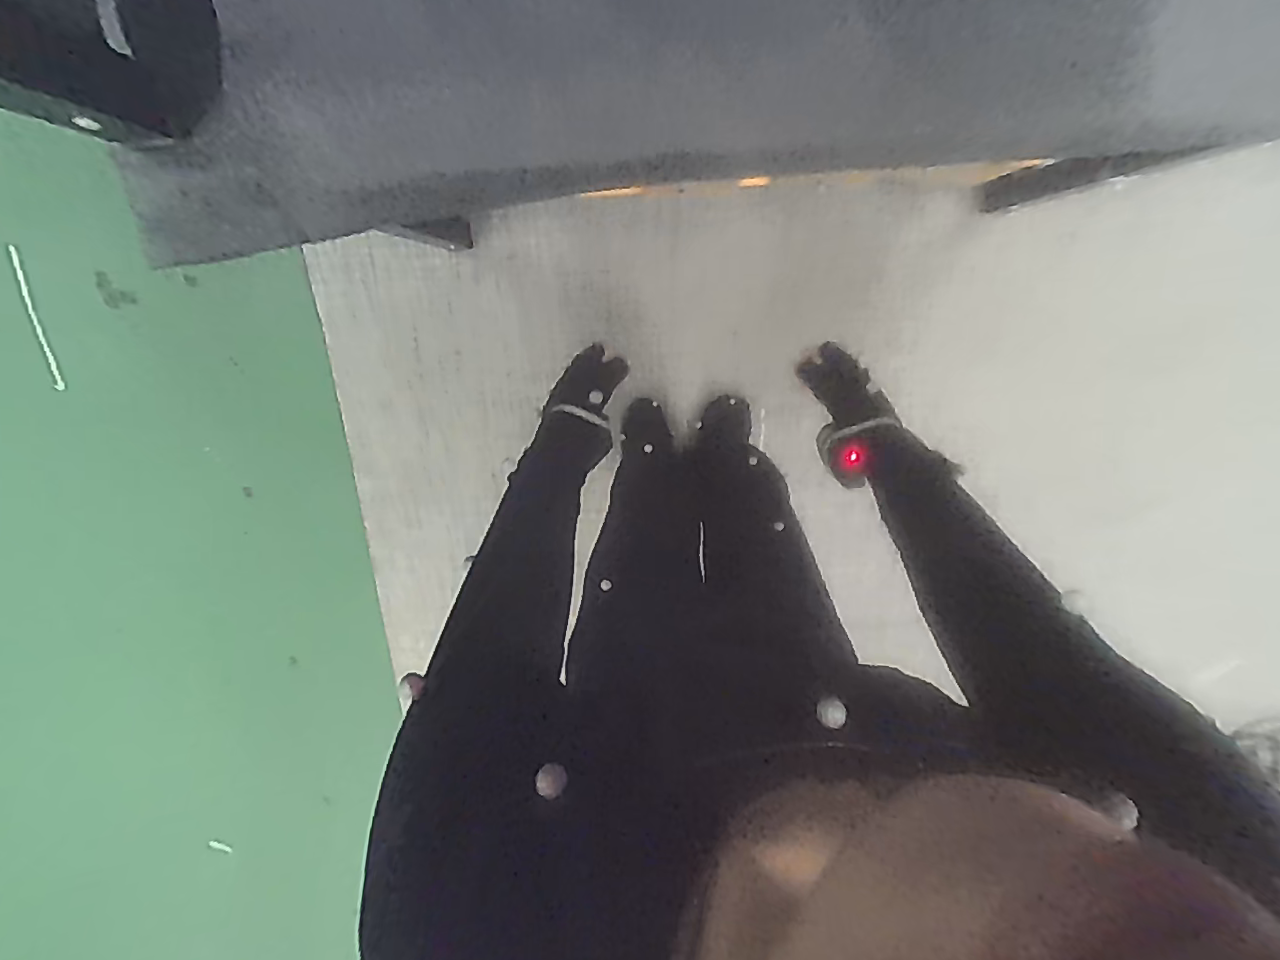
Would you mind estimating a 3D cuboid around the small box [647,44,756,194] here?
[{"bbox_3d":[0.096,-0.597,0.914,0.168,0.176,0.179,-1,110,2],"label":"small box"}]
